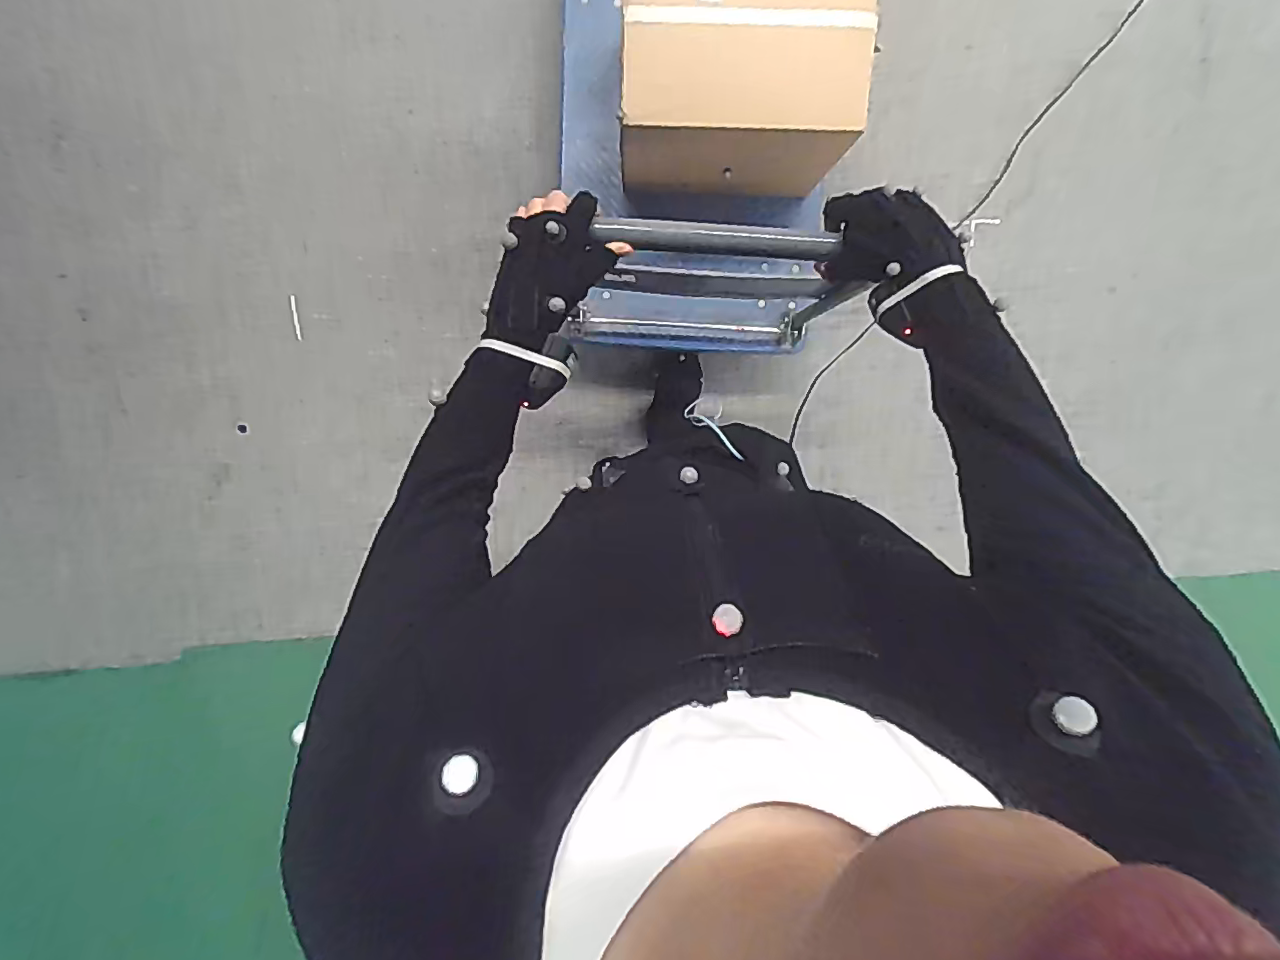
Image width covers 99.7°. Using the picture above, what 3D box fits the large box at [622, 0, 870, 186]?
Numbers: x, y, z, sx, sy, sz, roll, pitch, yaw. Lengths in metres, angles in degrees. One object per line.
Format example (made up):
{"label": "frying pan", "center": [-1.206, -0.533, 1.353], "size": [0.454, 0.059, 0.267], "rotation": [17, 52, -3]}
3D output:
{"label": "large box", "center": [0.172, -0.769, 1.017], "size": [0.408, 0.320, 0.320], "rotation": [0, 100, 0]}
